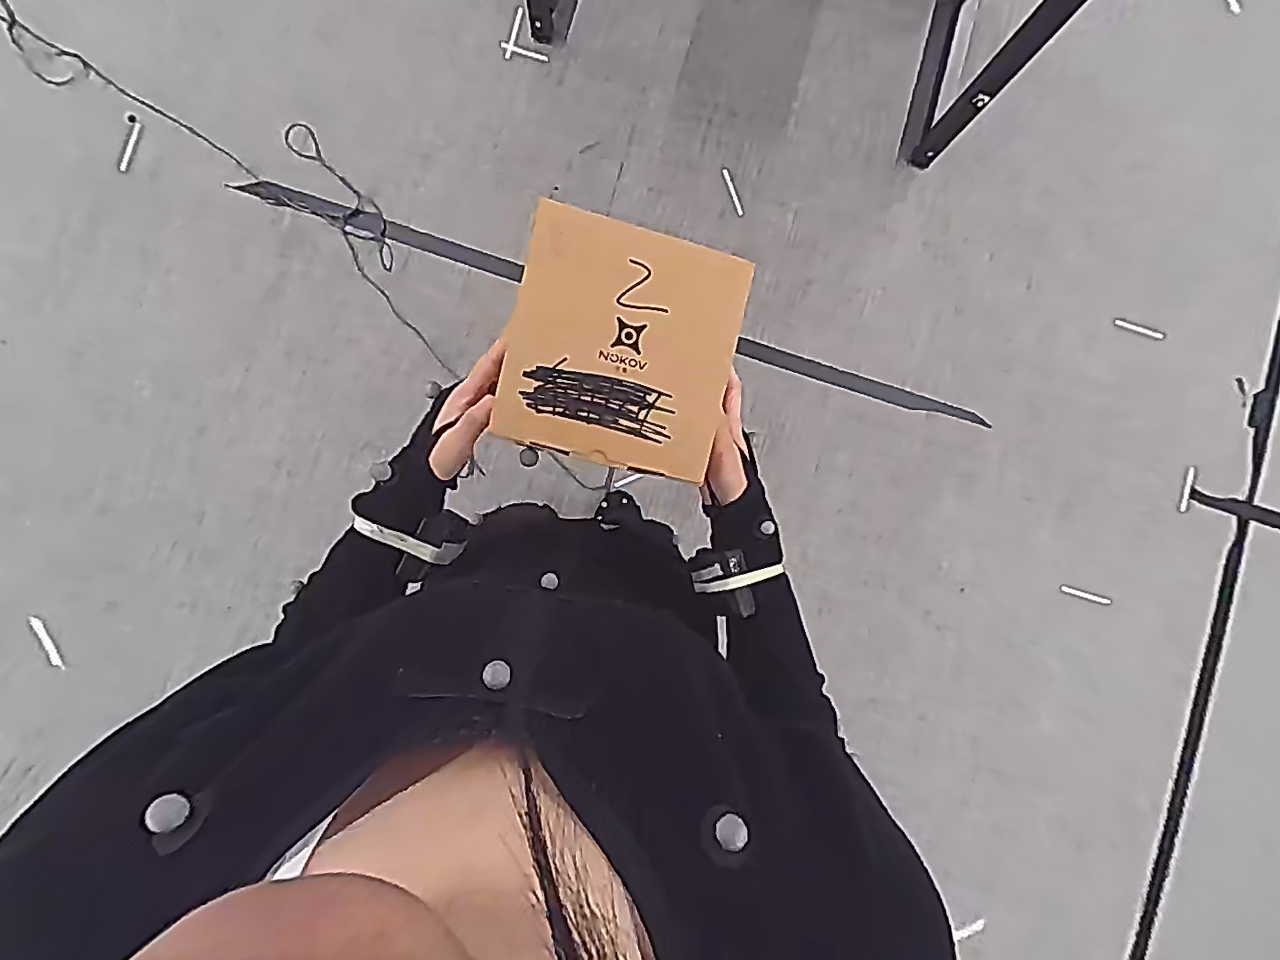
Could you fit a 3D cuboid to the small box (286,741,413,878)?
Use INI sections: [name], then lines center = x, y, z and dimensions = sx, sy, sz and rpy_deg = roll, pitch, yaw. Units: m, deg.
[small box]
center = -0.629, 0.717, 1.194
dimensions = 0.168, 0.176, 0.179
rpy_deg = 19, 86, -3
